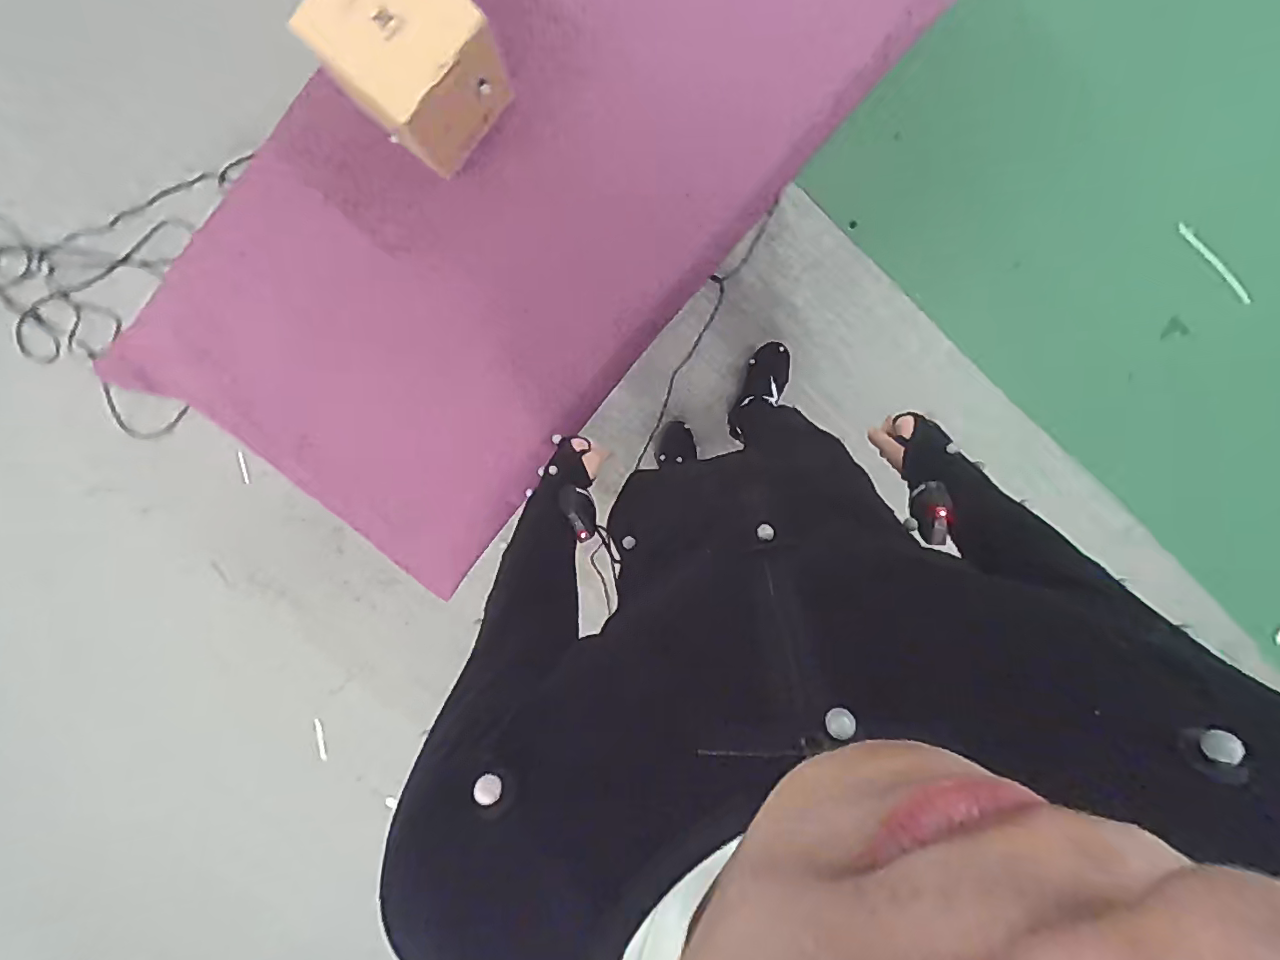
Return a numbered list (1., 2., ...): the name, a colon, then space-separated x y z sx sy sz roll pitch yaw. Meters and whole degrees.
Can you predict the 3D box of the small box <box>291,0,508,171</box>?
1. small box: -0.305 -0.557 0.730 0.179 0.176 0.168 40 95 -4
